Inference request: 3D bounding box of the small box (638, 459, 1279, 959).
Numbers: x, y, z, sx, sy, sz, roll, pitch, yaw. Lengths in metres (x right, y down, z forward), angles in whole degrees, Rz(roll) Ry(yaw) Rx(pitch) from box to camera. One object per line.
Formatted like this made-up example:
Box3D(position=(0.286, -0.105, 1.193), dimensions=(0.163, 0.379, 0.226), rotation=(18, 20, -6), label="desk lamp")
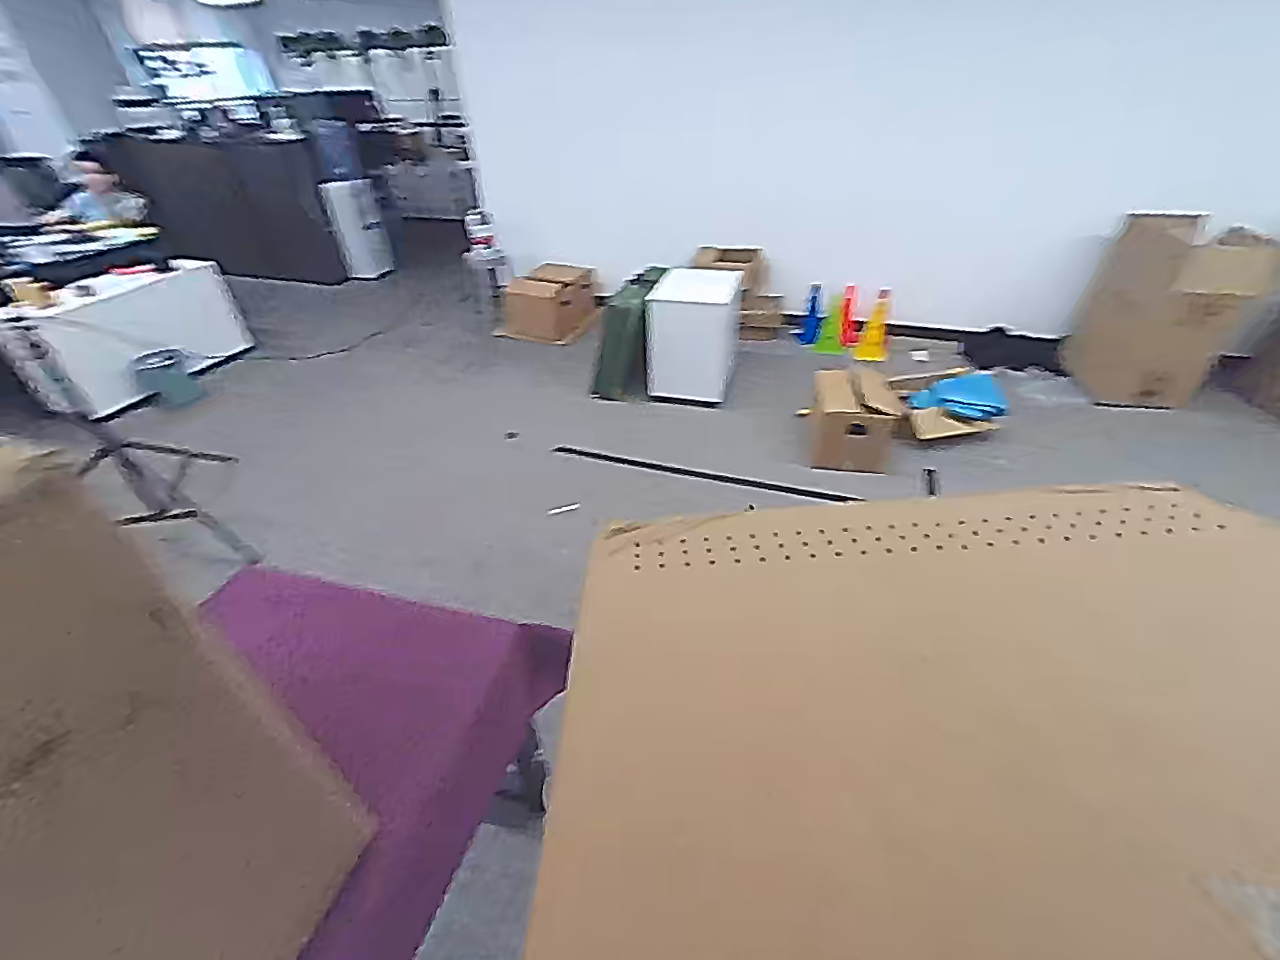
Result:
Box3D(position=(0.091, 0.099, 0.115), dimensions=(0.179, 0.168, 0.176), rotation=(-4, 20, 3), label="small box")
